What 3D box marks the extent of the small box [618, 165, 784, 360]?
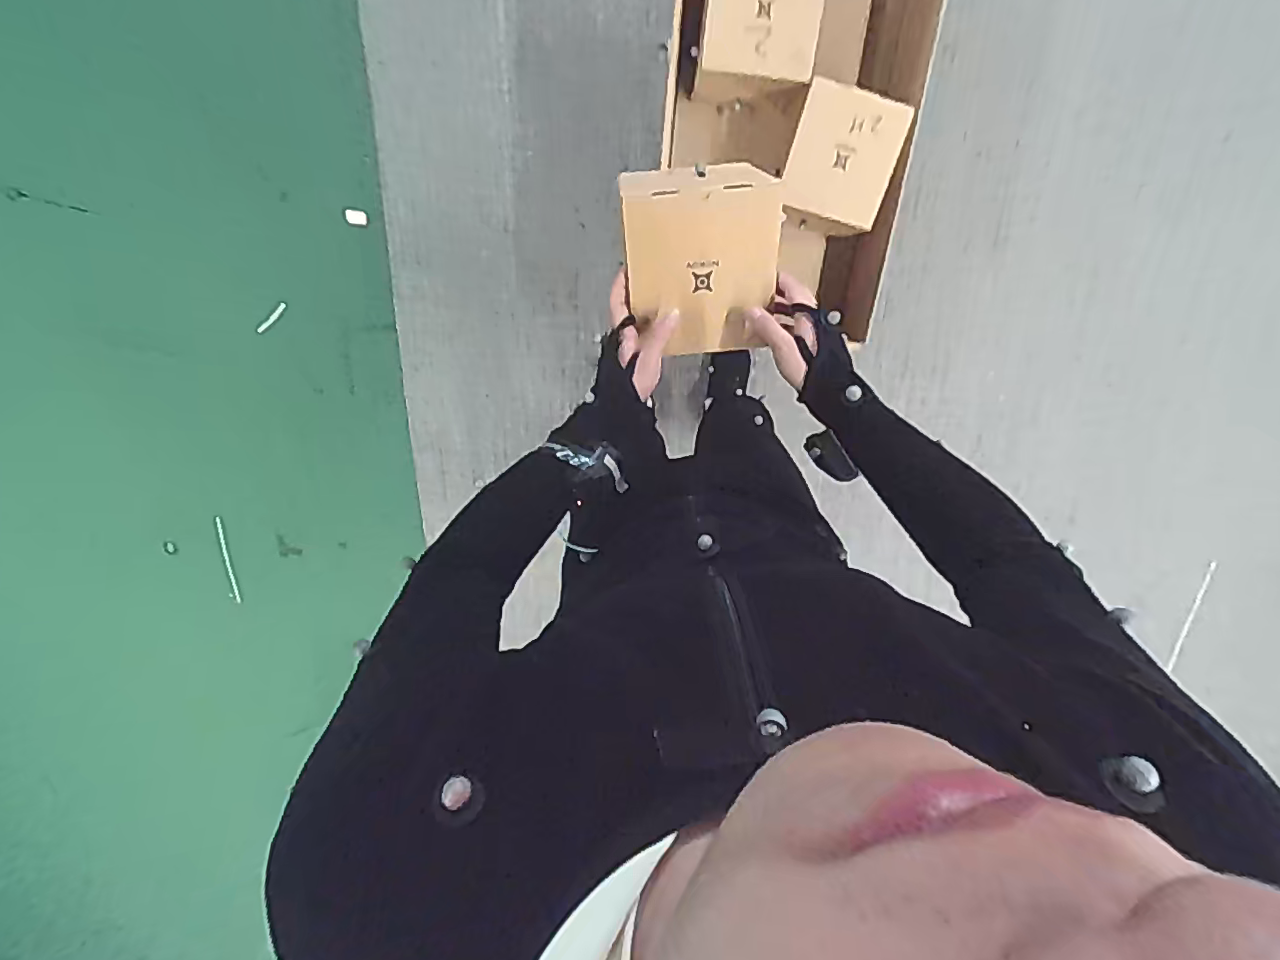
[{"bbox_3d":[0.065,-0.262,0.646,0.168,0.176,0.179,-5,124,1],"label":"small box"}]
